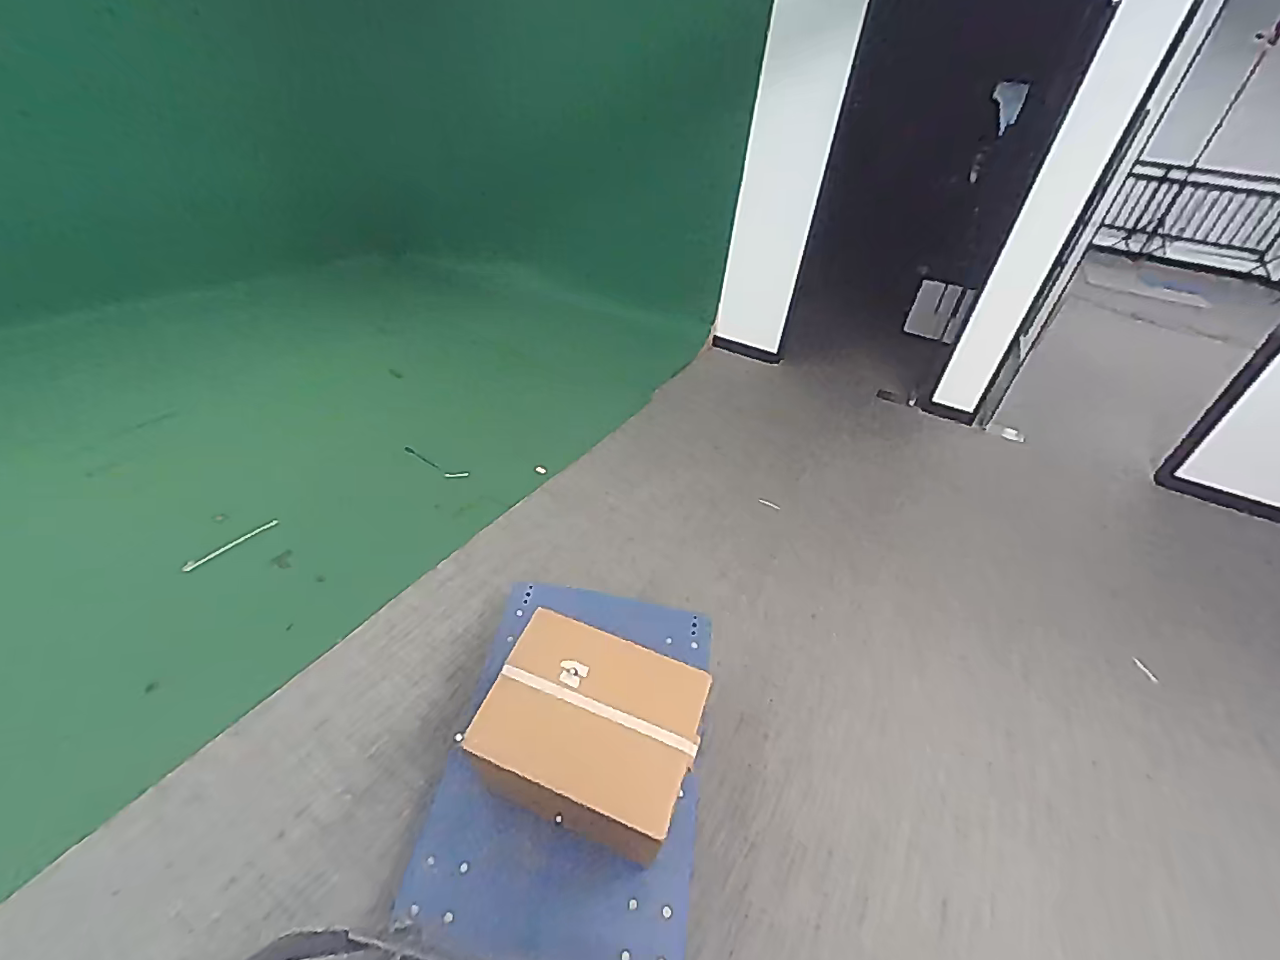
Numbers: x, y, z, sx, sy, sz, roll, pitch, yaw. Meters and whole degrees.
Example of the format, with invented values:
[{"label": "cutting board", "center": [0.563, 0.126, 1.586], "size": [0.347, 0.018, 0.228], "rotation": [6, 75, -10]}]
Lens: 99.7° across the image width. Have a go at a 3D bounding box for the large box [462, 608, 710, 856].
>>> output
[{"label": "large box", "center": [-0.097, 0.541, 1.163], "size": [0.408, 0.320, 0.320], "rotation": [18, 49, 13]}]
